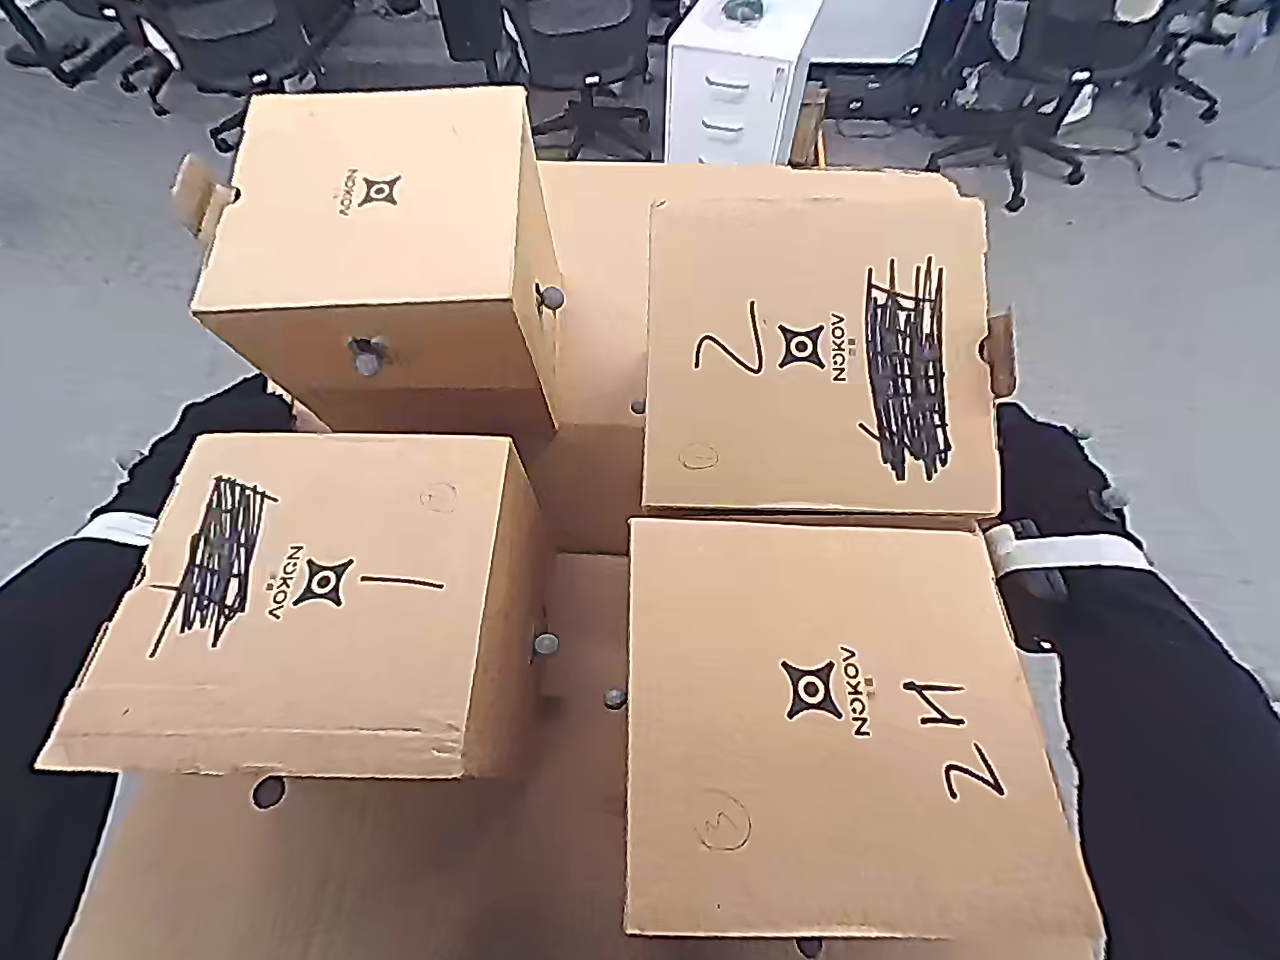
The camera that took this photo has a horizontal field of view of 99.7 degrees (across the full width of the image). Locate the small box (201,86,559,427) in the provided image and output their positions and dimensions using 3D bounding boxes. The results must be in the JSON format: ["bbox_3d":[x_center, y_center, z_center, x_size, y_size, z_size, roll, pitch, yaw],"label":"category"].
[{"bbox_3d":[-0.158,-0.148,0.400,0.179,0.176,0.168,-2,70,1],"label":"small box"}]
